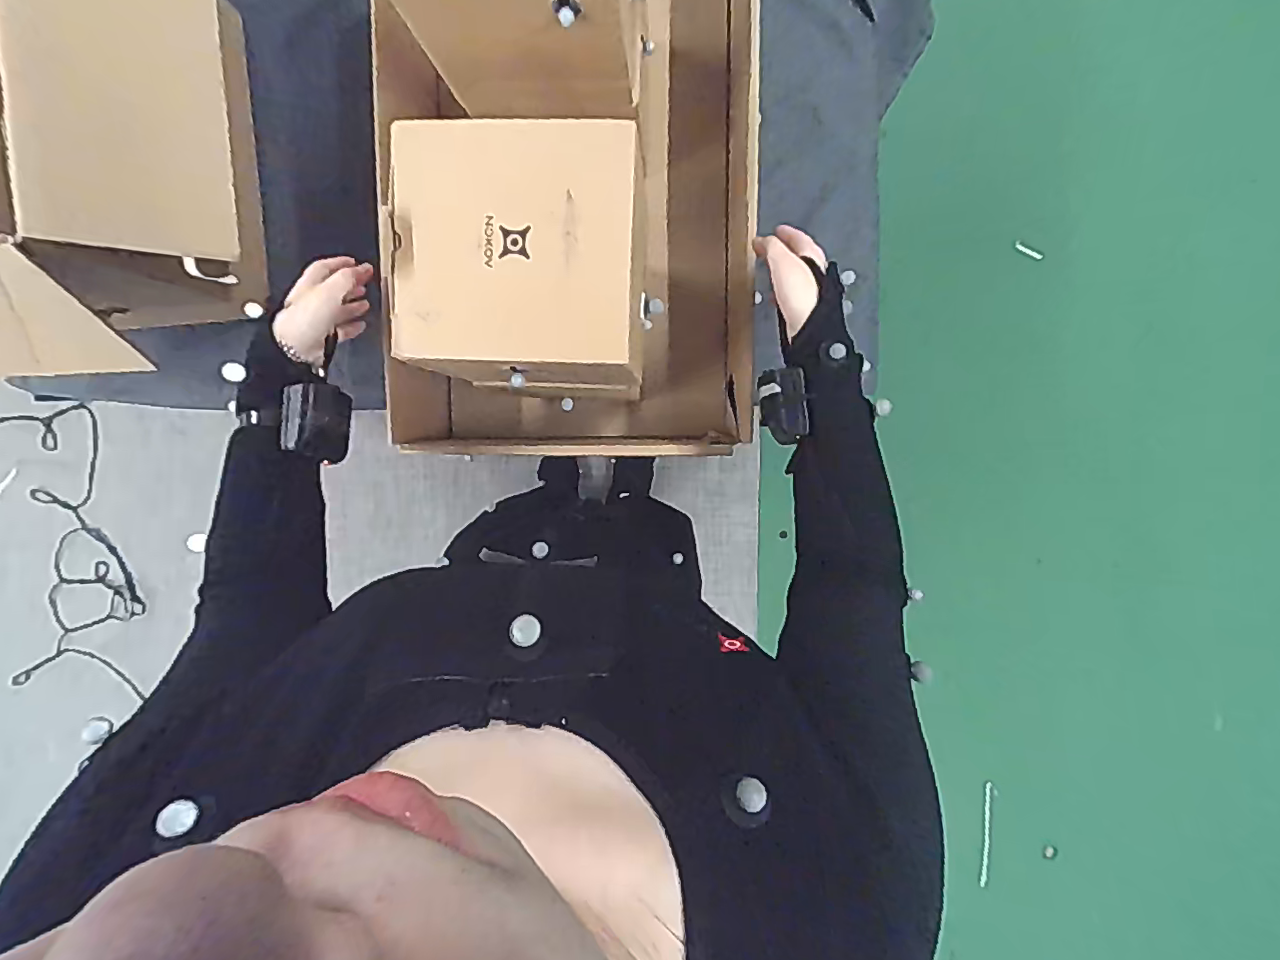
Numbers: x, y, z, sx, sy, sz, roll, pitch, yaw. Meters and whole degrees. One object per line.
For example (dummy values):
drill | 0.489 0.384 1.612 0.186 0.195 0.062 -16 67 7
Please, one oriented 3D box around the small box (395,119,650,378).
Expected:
small box | -0.085 -0.178 0.465 0.179 0.176 0.168 2 97 3

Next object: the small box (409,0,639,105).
small box | -0.092 -0.438 0.439 0.179 0.176 0.168 3 97 2
